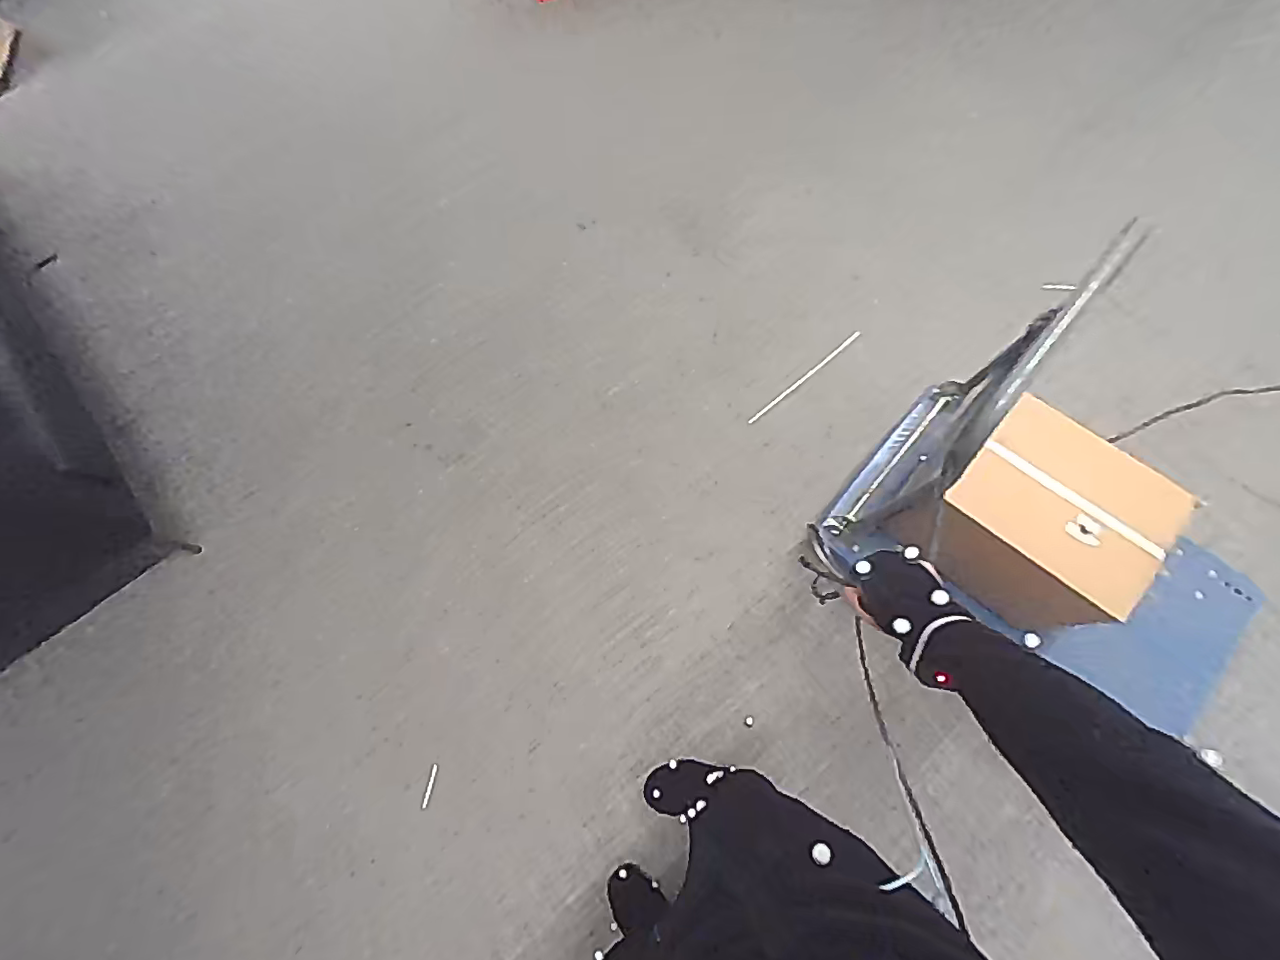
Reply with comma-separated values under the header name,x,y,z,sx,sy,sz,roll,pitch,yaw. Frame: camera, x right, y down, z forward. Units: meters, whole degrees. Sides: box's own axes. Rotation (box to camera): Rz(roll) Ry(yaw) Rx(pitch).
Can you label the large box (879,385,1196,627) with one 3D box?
name,x,y,z,sx,sy,sz,roll,pitch,yaw
large box,0.829,0.070,1.194,0.408,0.320,0.320,39,78,14
